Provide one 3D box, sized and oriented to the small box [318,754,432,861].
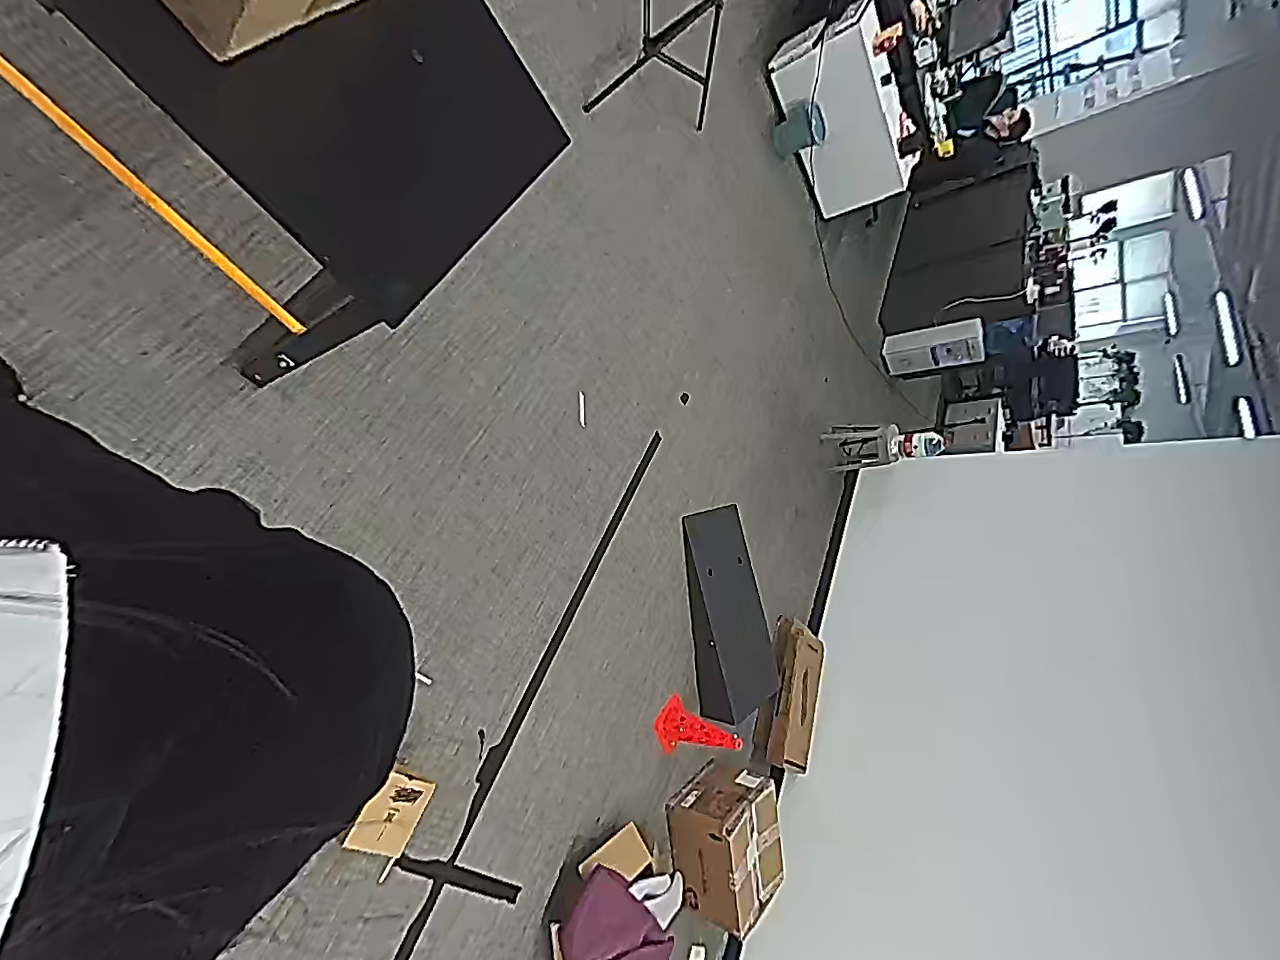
[{"bbox_3d":[-0.682,0.832,1.386,0.168,0.176,0.179,47,55,-37],"label":"small box"}]
